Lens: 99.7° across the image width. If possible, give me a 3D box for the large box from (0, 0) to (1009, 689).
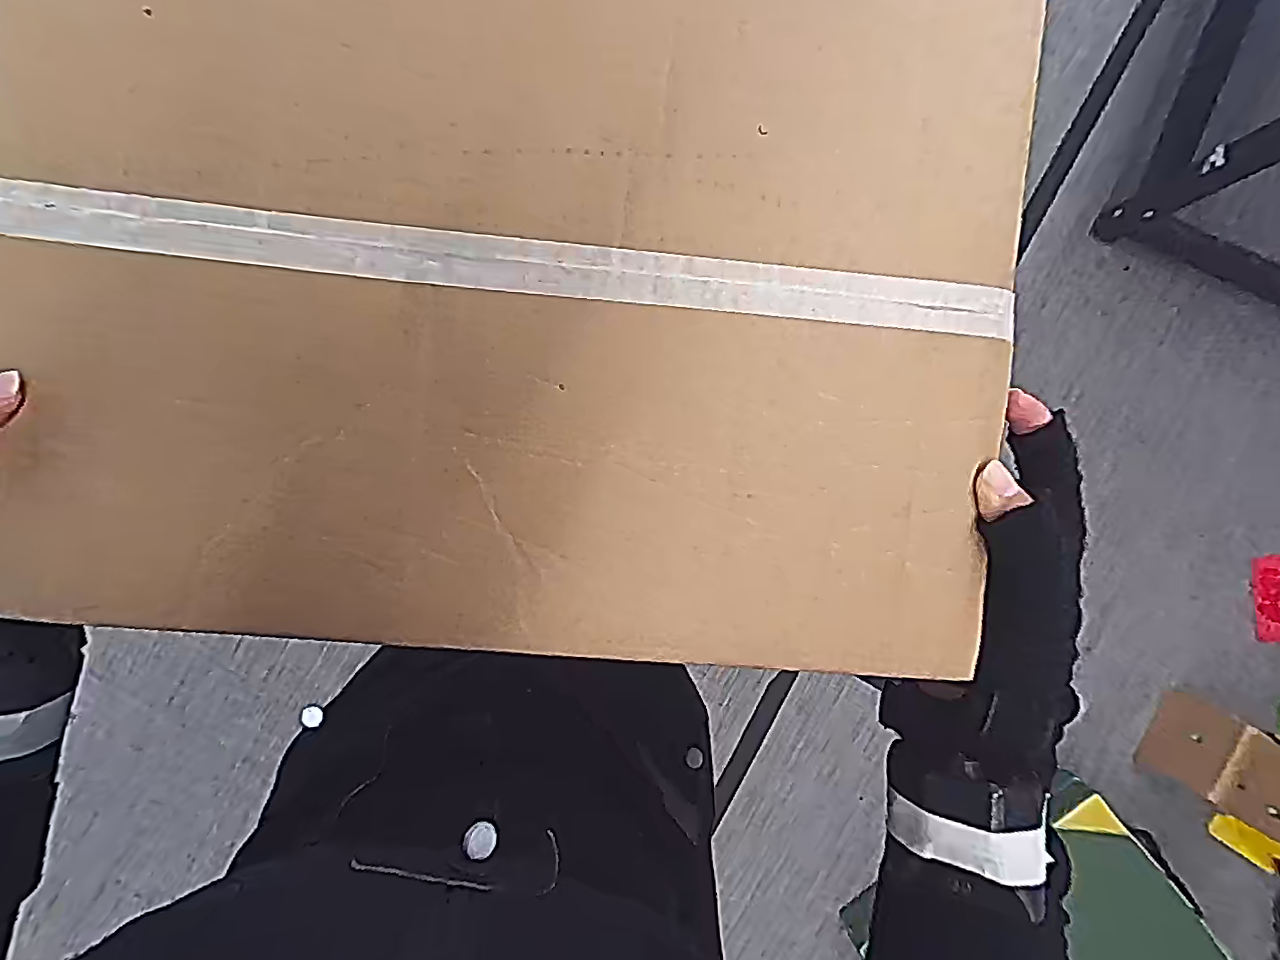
[{"bbox_3d":[-0.057,-0.078,0.373,0.408,0.320,0.320,5,91,-4],"label":"large box"}]
